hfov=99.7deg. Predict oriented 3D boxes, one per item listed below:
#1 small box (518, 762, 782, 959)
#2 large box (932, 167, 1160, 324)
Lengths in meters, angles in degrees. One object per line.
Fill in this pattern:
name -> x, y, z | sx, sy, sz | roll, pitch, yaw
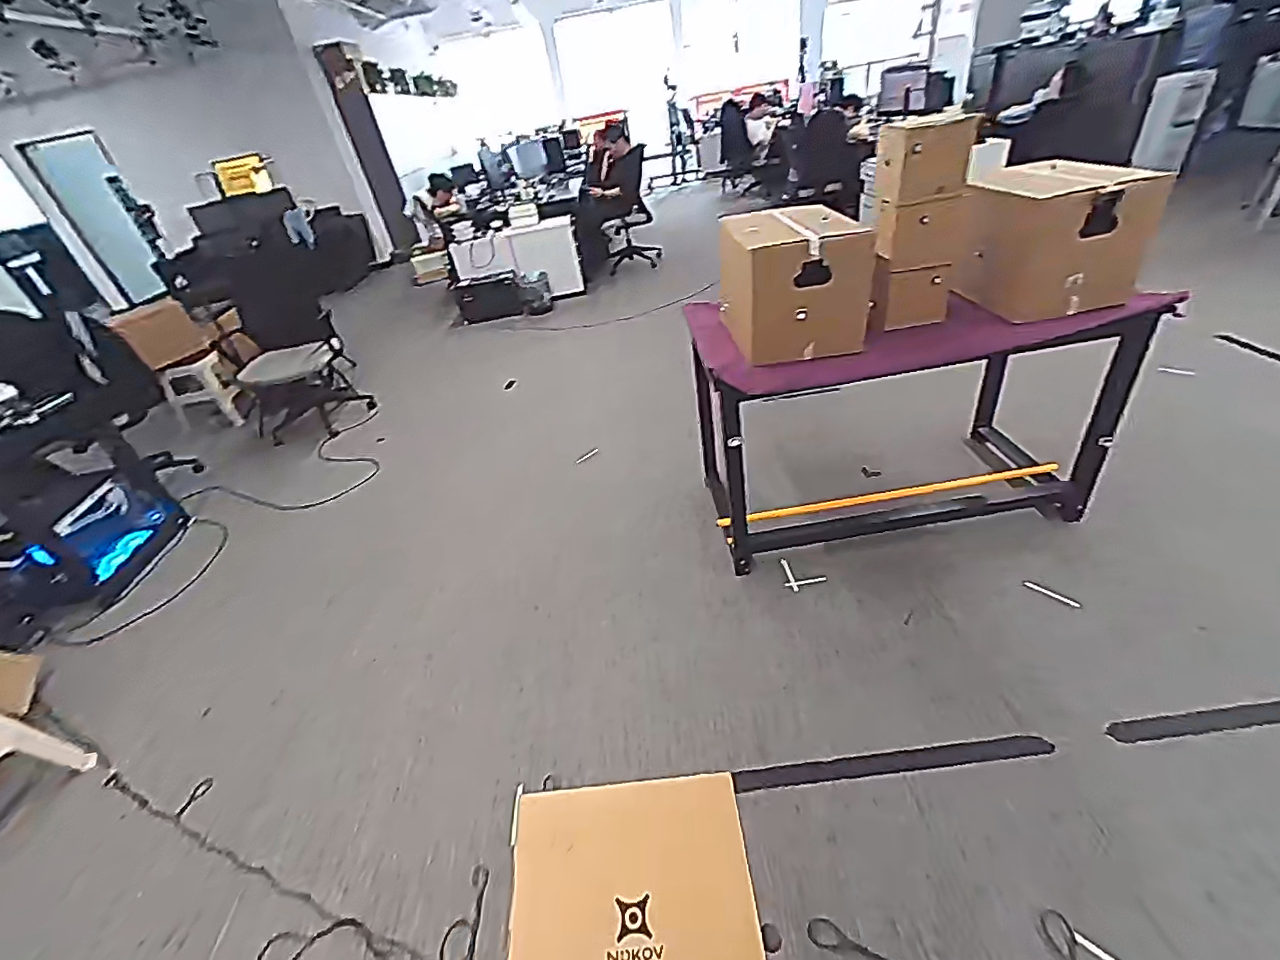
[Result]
small box -> 0.006, 0.339, 0.402 | 0.168, 0.176, 0.179 | -5, 42, -2
large box -> 1.094, -0.669, 1.525 | 0.320, 0.320, 0.408 | -10, 34, 1
